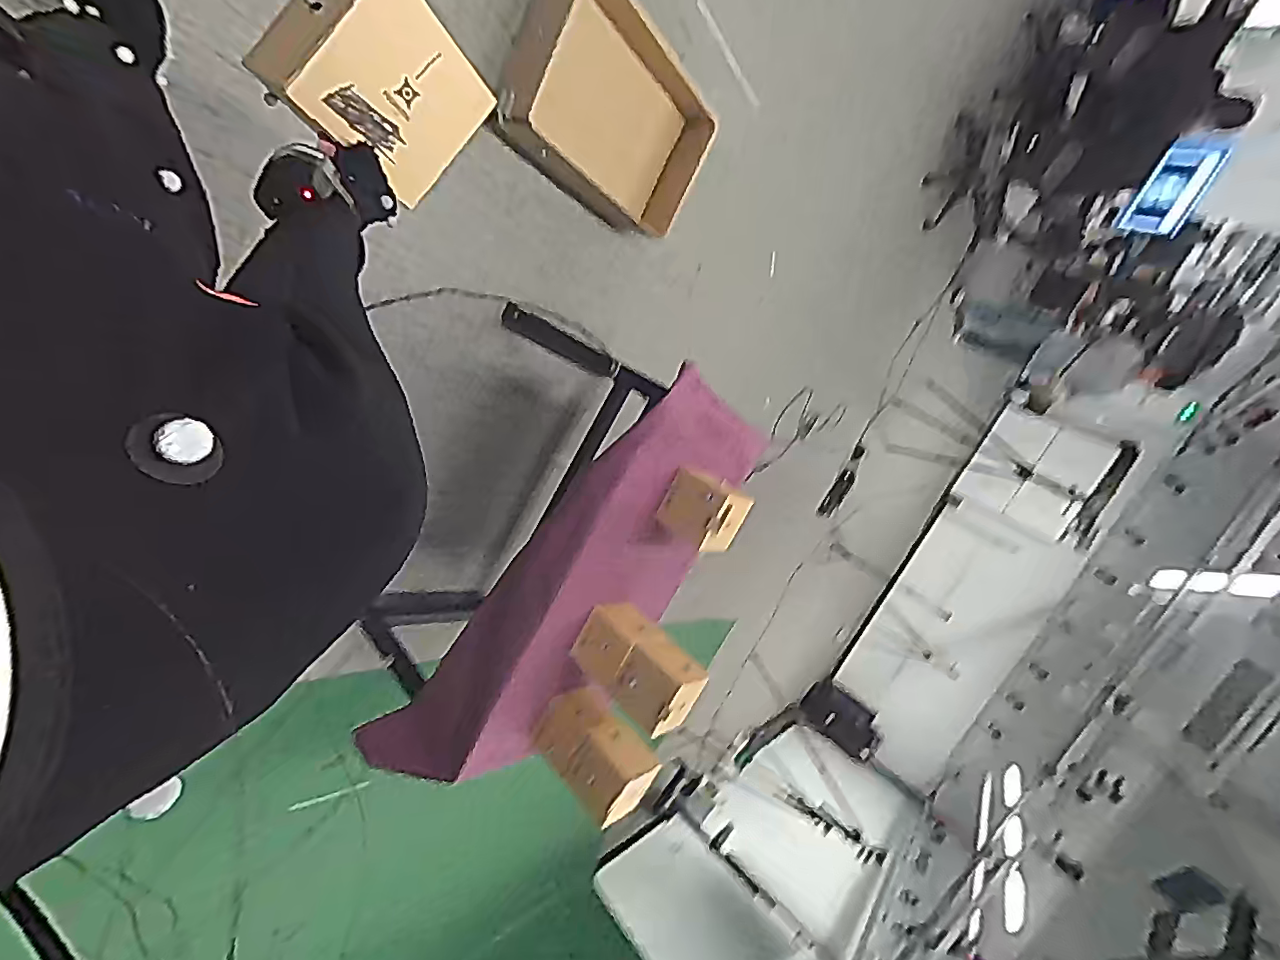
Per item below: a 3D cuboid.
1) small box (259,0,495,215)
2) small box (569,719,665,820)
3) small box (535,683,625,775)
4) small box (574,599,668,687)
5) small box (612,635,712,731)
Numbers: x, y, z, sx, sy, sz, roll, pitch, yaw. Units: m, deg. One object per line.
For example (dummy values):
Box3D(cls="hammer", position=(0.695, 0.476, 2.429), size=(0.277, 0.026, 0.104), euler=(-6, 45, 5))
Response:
Box3D(cls="small box", position=(-0.319, -0.467, 0.650), size=(0.179, 0.176, 0.168), euler=(-50, 149, 2))
Box3D(cls="small box", position=(-0.069, 0.814, 1.541), size=(0.179, 0.176, 0.168), euler=(17, 106, -55))
Box3D(cls="small box", position=(-0.185, 0.742, 1.632), size=(0.179, 0.176, 0.168), euler=(17, 105, -56))
Box3D(cls="small box", position=(-0.059, 0.459, 1.550), size=(0.179, 0.176, 0.168), euler=(11, 109, -56))
Box3D(cls="small box", position=(0.058, 0.540, 1.466), size=(0.179, 0.176, 0.168), euler=(17, 104, -56))
